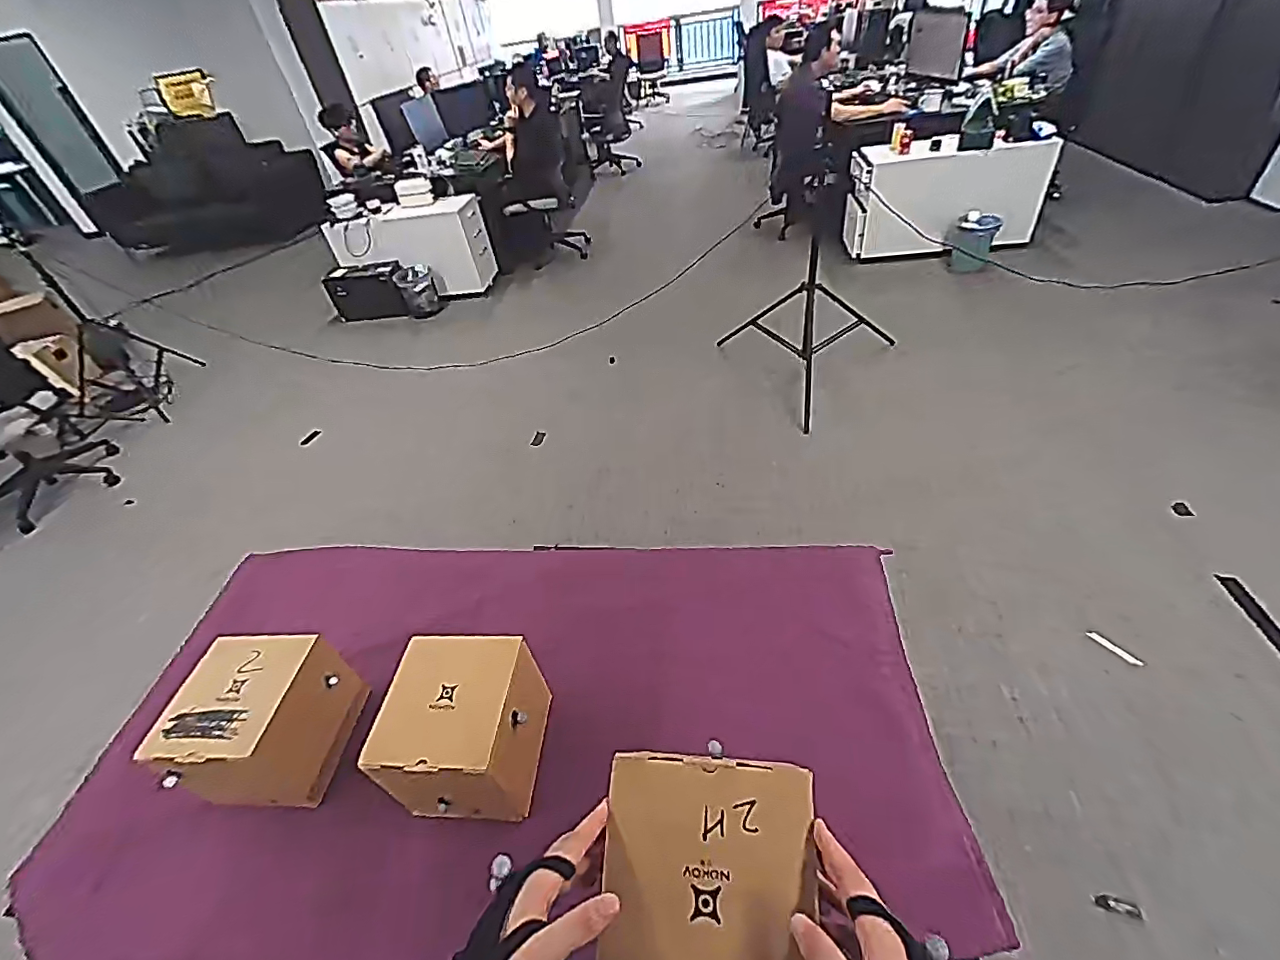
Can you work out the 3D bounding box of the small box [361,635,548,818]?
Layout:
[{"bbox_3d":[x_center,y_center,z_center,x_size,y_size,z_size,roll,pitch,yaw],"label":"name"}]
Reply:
[{"bbox_3d":[-0.234,0.333,0.739,0.168,0.176,0.179,-2,42,8],"label":"small box"}]

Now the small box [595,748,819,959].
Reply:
[{"bbox_3d":[0.064,0.343,0.483,0.168,0.176,0.179,0,63,10],"label":"small box"}]
